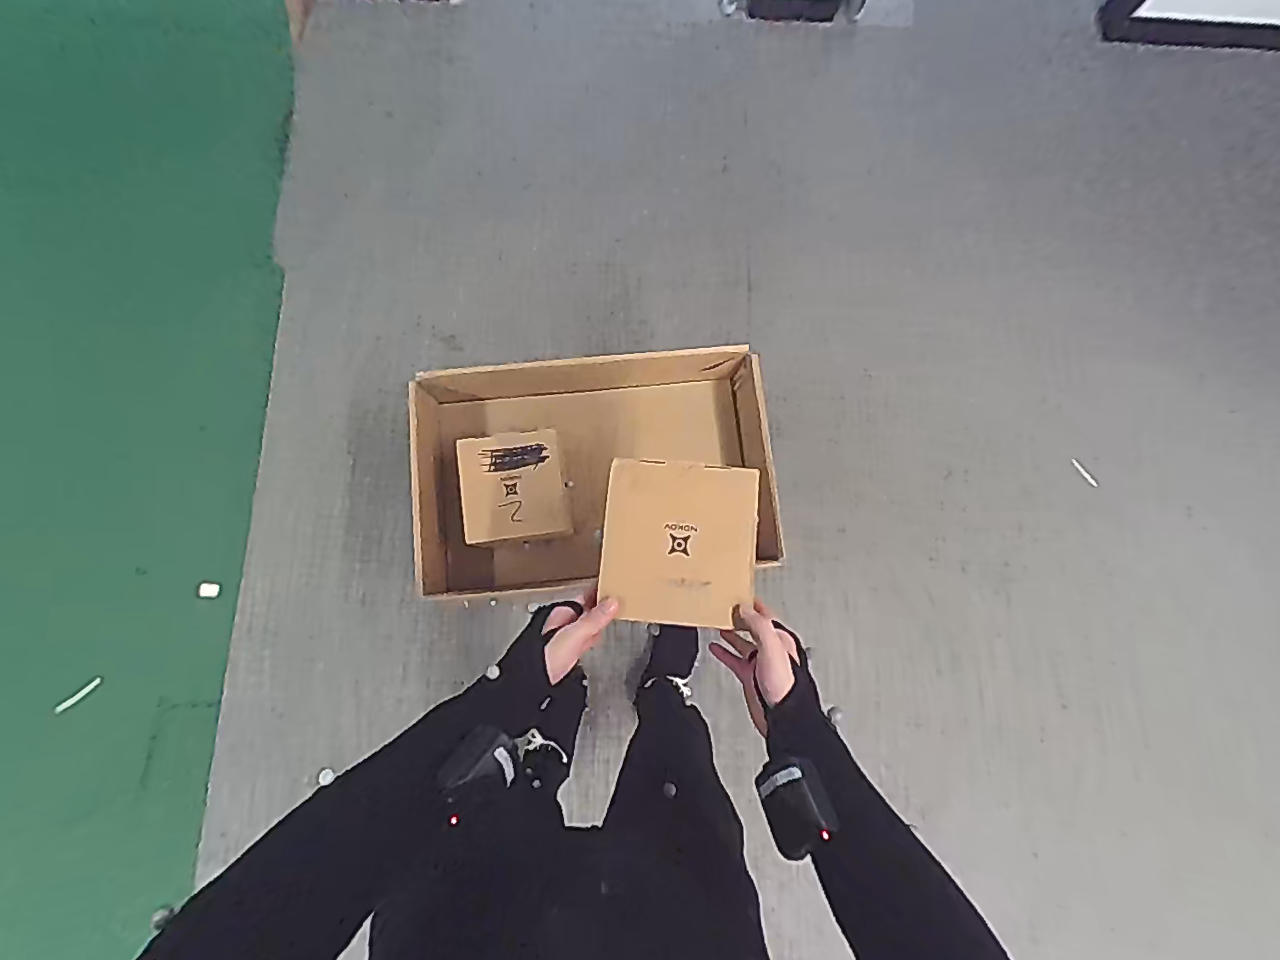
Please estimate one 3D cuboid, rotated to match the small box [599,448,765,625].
[{"bbox_3d":[0.048,0.074,0.648,0.168,0.176,0.179,5,78,3],"label":"small box"}]
